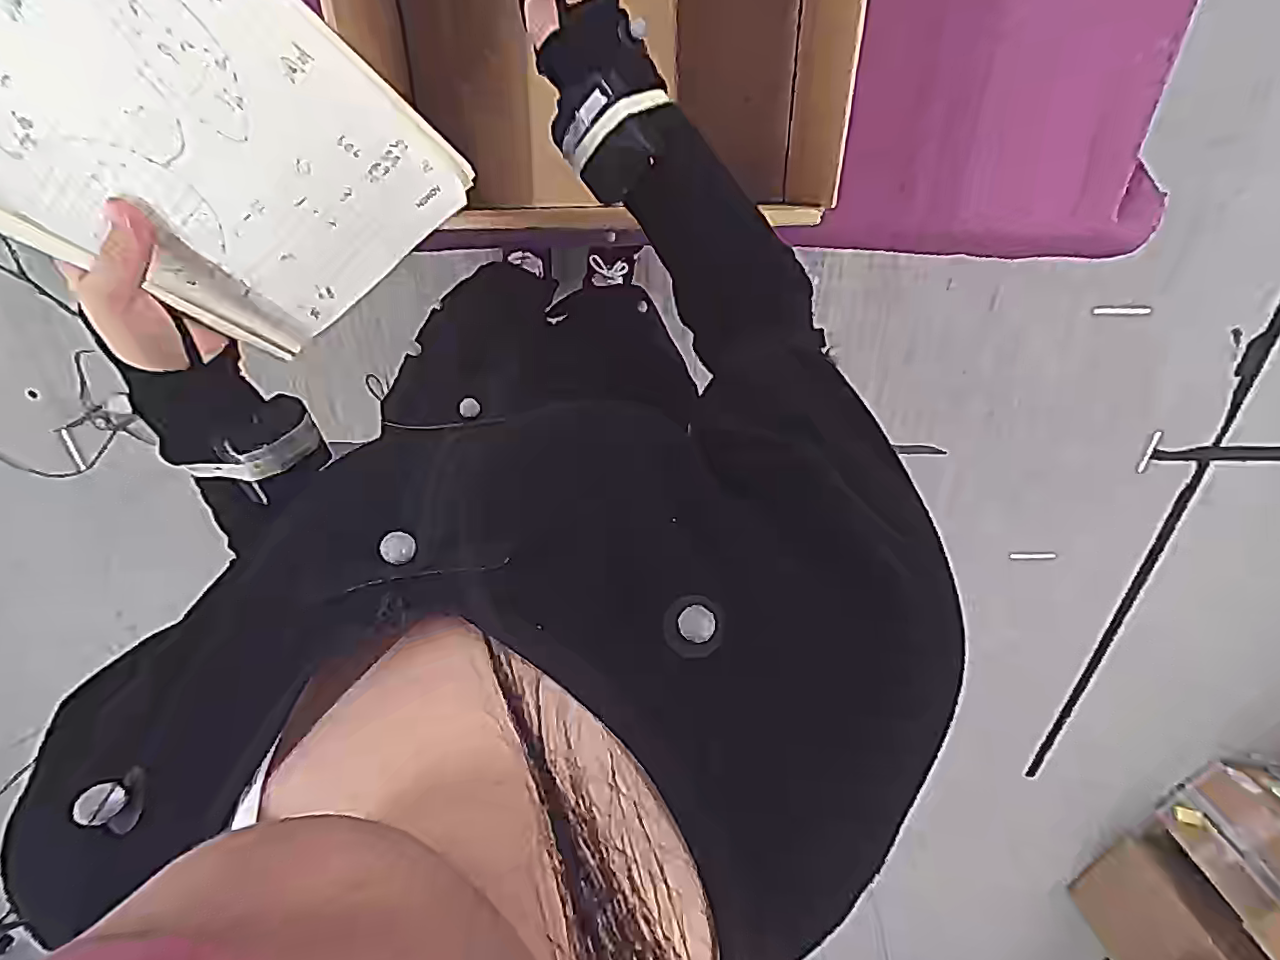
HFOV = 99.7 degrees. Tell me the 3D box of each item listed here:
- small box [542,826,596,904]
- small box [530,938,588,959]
[{"bbox_3d":[-0.242,1.335,1.885,0.168,0.176,0.179,-3,119,0],"label":"small box"},{"bbox_3d":[-0.241,1.493,1.596,0.168,0.176,0.179,-1,118,-2],"label":"small box"}]
